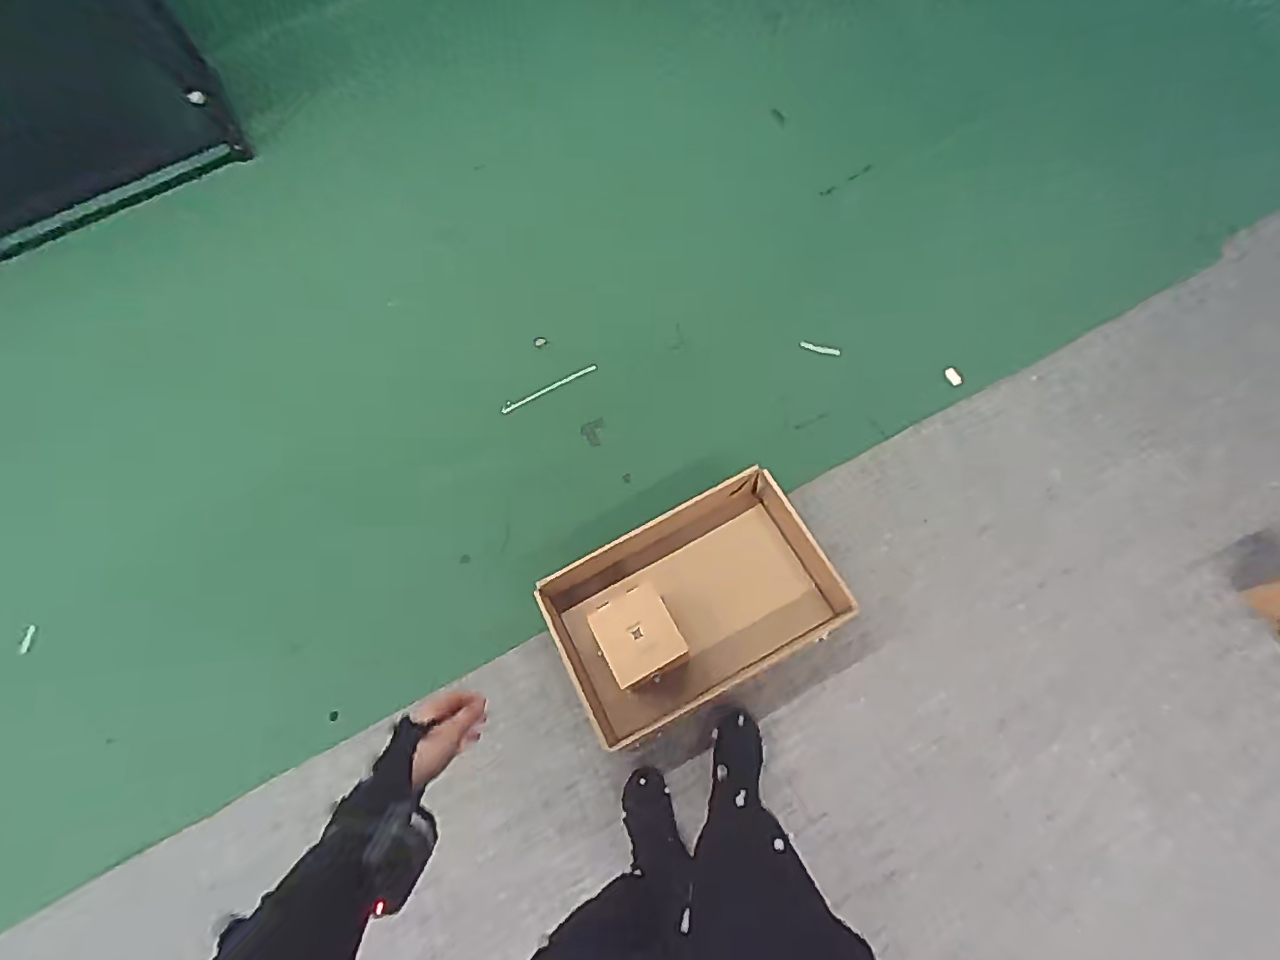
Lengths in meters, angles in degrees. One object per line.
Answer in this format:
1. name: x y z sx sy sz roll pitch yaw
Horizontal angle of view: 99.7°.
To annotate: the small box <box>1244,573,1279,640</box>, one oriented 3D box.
1. small box: 1.489 0.262 1.153 0.179 0.176 0.168 -23 67 -3
